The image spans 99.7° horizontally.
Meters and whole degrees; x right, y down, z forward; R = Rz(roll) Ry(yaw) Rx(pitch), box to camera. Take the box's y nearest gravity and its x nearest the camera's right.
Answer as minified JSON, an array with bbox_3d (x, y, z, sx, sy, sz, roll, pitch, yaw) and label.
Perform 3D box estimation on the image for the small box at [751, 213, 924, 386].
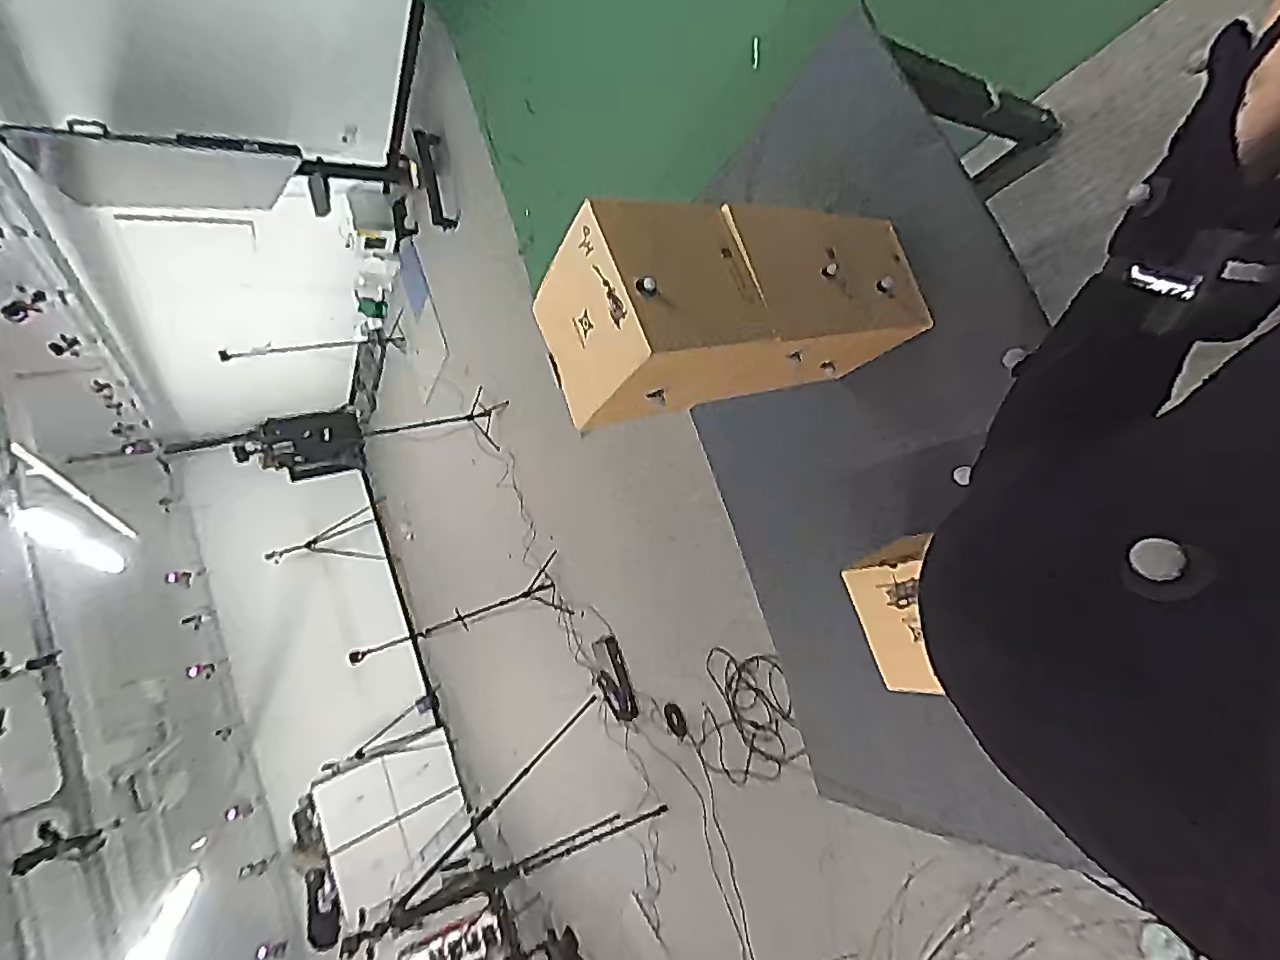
[{"bbox_3d":[0.271,-0.253,0.770,0.179,0.176,0.168,-29,80,56],"label":"small box"}]

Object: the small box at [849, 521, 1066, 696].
[{"bbox_3d":[0.423,0.163,0.725,0.168,0.176,0.179,-27,82,56],"label":"small box"}]

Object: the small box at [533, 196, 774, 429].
[{"bbox_3d":[0.009,-0.174,0.587,0.179,0.176,0.168,-35,75,56],"label":"small box"}]
